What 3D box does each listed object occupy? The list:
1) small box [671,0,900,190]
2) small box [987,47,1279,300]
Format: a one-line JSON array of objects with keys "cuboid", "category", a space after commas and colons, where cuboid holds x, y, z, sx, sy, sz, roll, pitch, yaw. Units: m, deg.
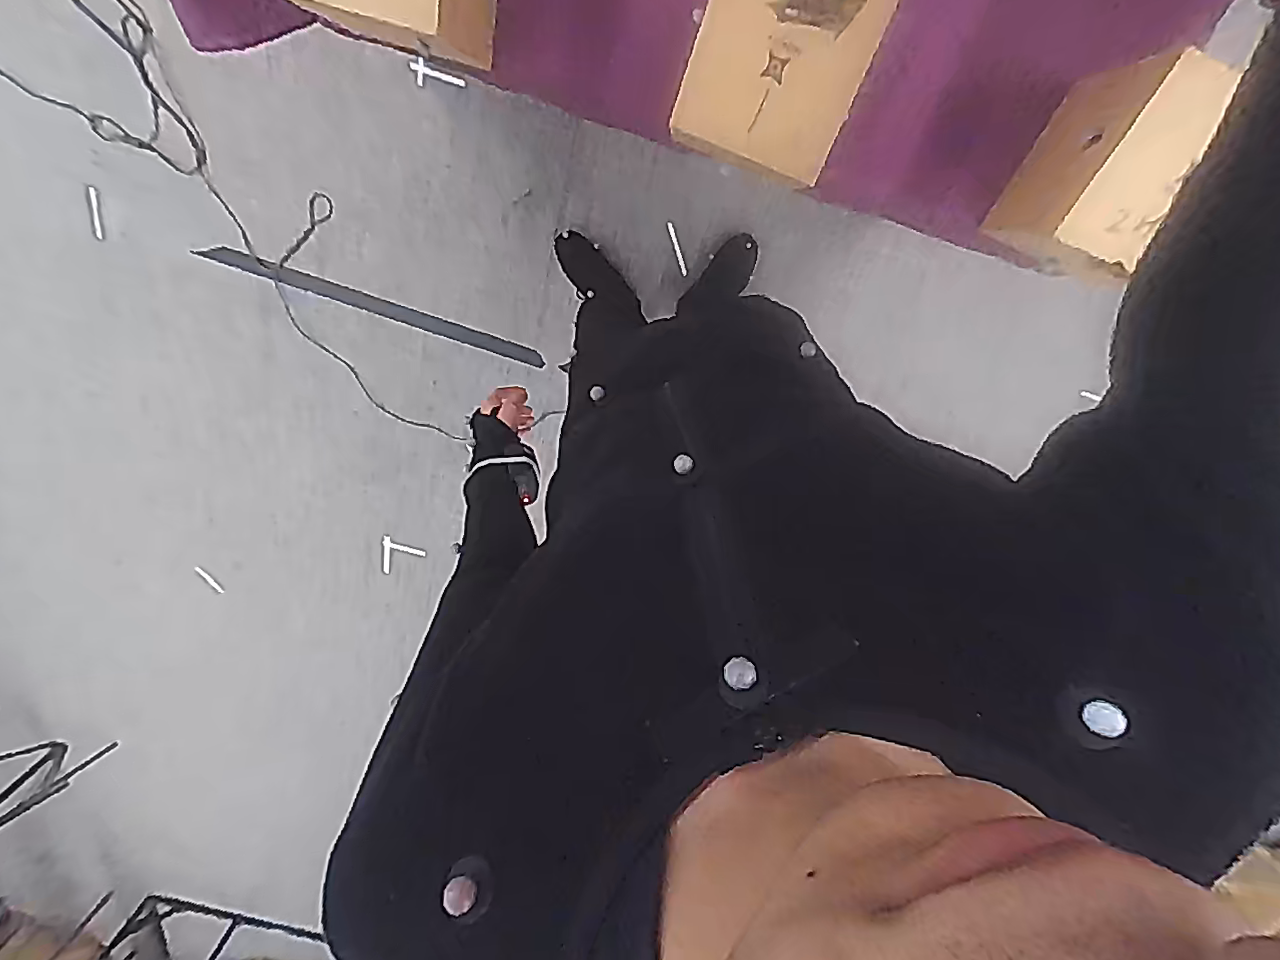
[{"cuboid": [0.141, -0.439, 0.591, 0.168, 0.176, 0.179, 20, 118, -5], "category": "small box"}, {"cuboid": [0.541, -0.330, 0.607, 0.168, 0.176, 0.179, 23, 117, -6], "category": "small box"}]
